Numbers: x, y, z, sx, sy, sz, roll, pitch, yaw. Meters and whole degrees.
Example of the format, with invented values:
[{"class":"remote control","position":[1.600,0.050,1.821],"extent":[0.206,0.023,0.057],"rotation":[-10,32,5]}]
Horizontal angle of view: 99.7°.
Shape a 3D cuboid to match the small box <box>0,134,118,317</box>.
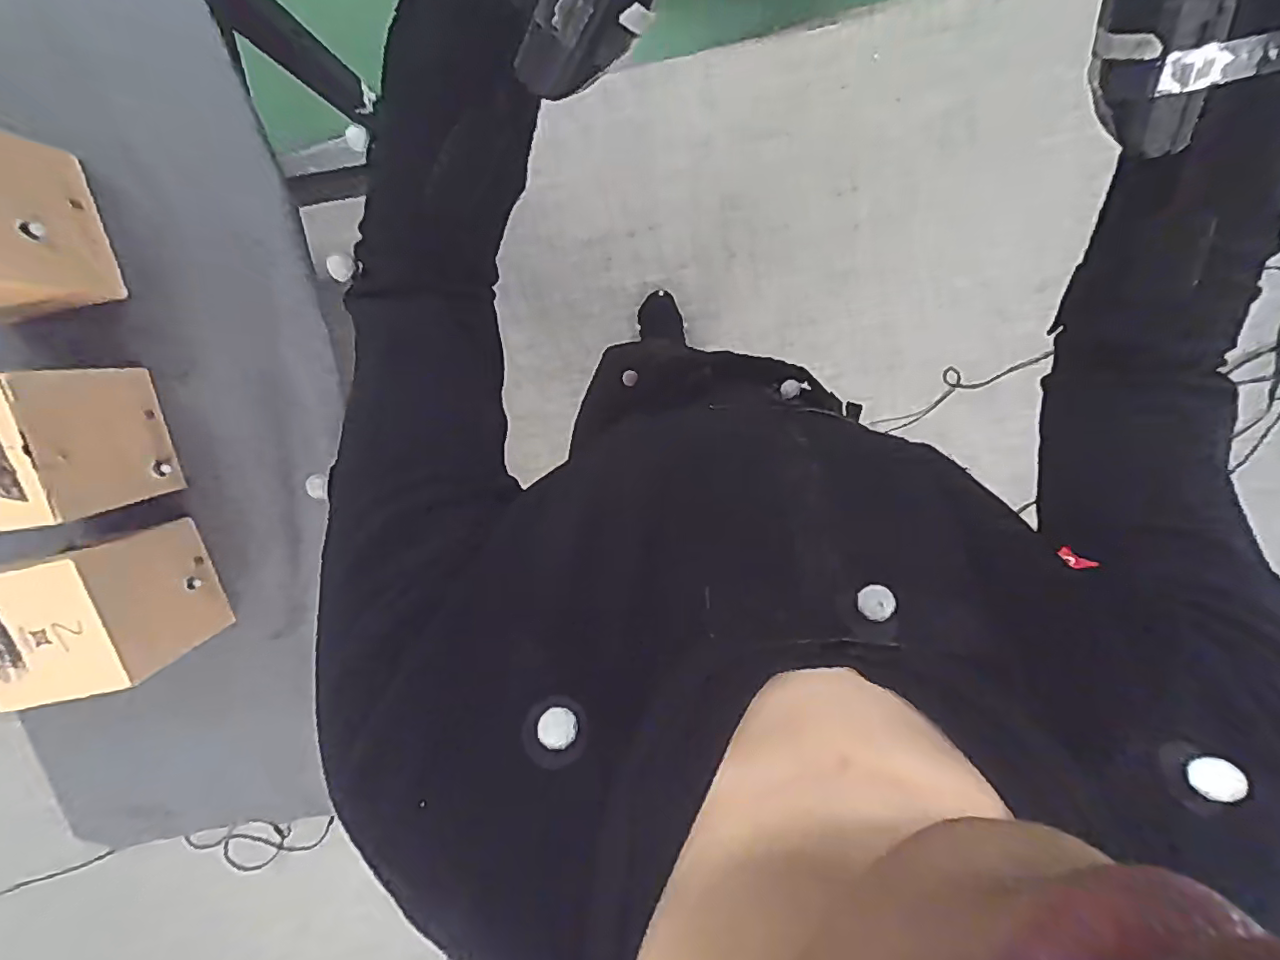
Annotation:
[{"class":"small box","position":[-0.742,-0.280,0.597],"extent":[0.179,0.176,0.168],"rotation":[-9,103,4]}]
